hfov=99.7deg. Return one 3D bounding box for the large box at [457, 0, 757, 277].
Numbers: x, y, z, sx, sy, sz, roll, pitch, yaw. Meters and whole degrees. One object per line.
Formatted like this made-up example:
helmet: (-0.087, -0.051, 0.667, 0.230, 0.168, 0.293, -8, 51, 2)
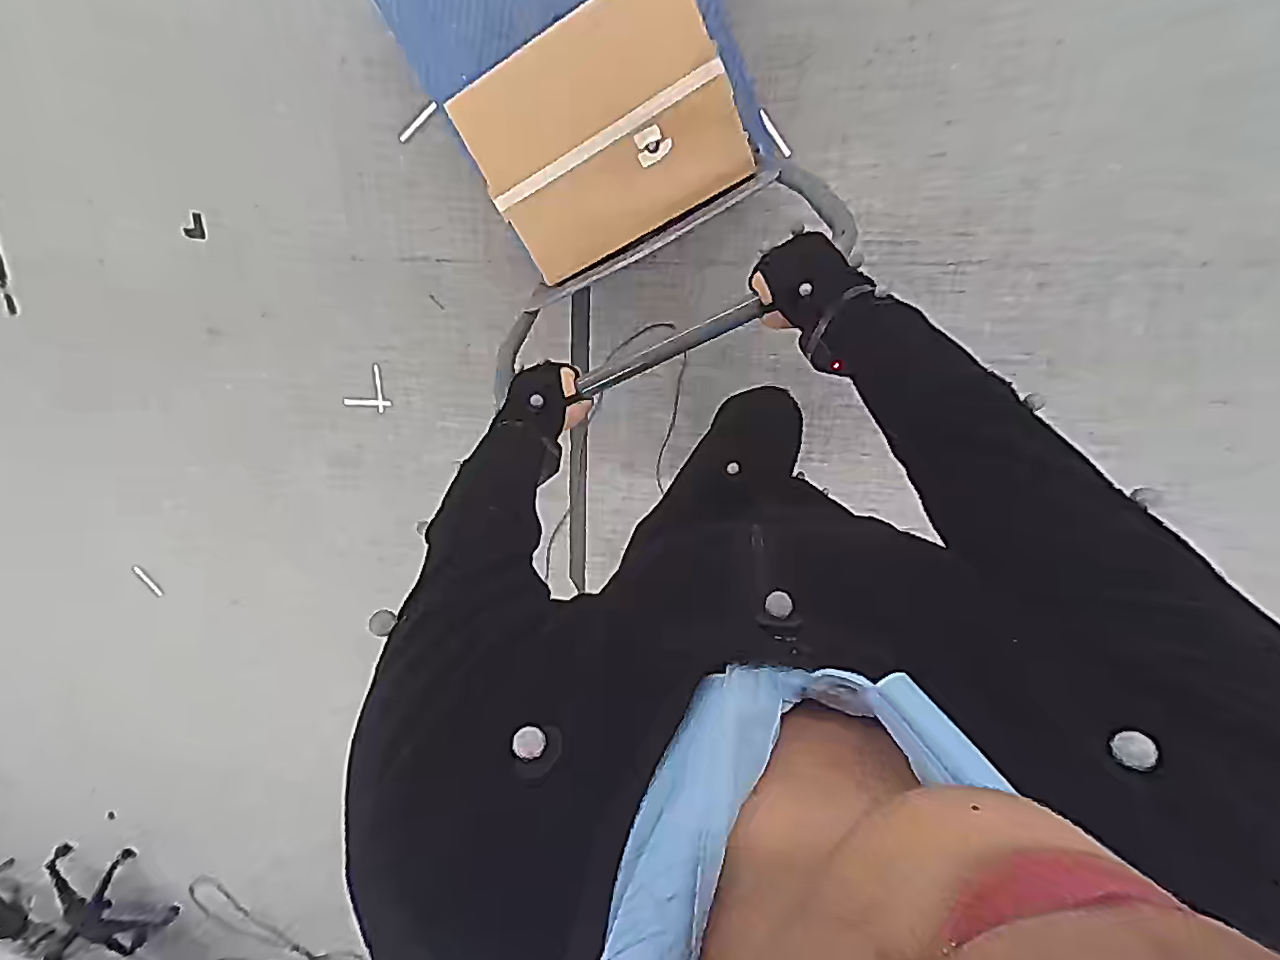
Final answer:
large box: (-0.047, -0.637, 0.996, 0.408, 0.320, 0.320, -24, 118, 16)
